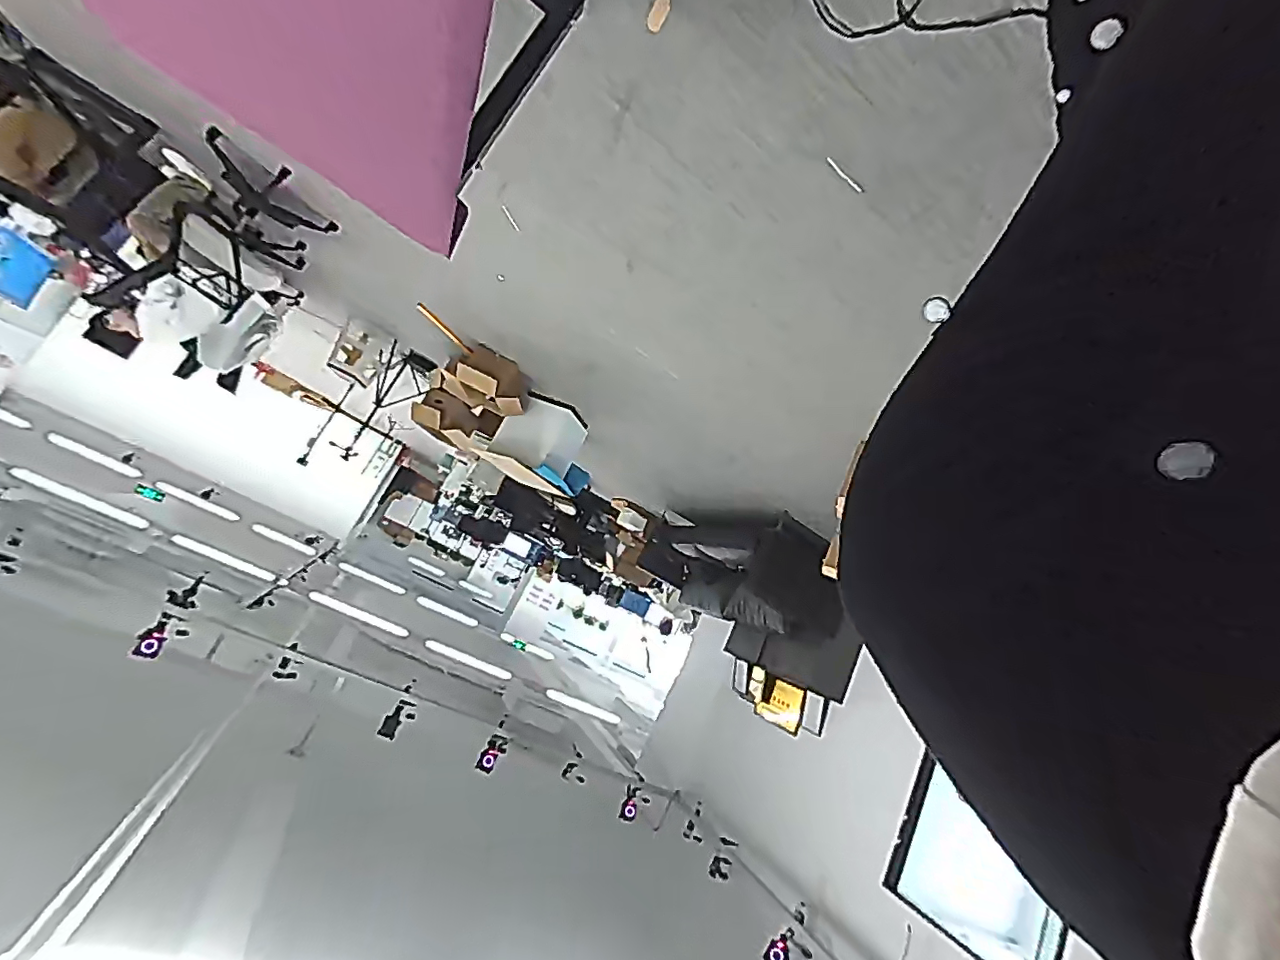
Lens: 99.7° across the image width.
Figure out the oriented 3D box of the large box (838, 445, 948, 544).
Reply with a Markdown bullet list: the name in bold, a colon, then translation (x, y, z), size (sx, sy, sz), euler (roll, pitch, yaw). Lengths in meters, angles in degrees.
- **large box**: translation (1.216, 0.068, 2.637), size (0.408, 0.320, 0.320), euler (19, 165, 25)

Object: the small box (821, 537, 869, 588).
- **small box**: translation (0.963, 0.385, 2.538), size (0.168, 0.176, 0.179), euler (21, 165, 24)
